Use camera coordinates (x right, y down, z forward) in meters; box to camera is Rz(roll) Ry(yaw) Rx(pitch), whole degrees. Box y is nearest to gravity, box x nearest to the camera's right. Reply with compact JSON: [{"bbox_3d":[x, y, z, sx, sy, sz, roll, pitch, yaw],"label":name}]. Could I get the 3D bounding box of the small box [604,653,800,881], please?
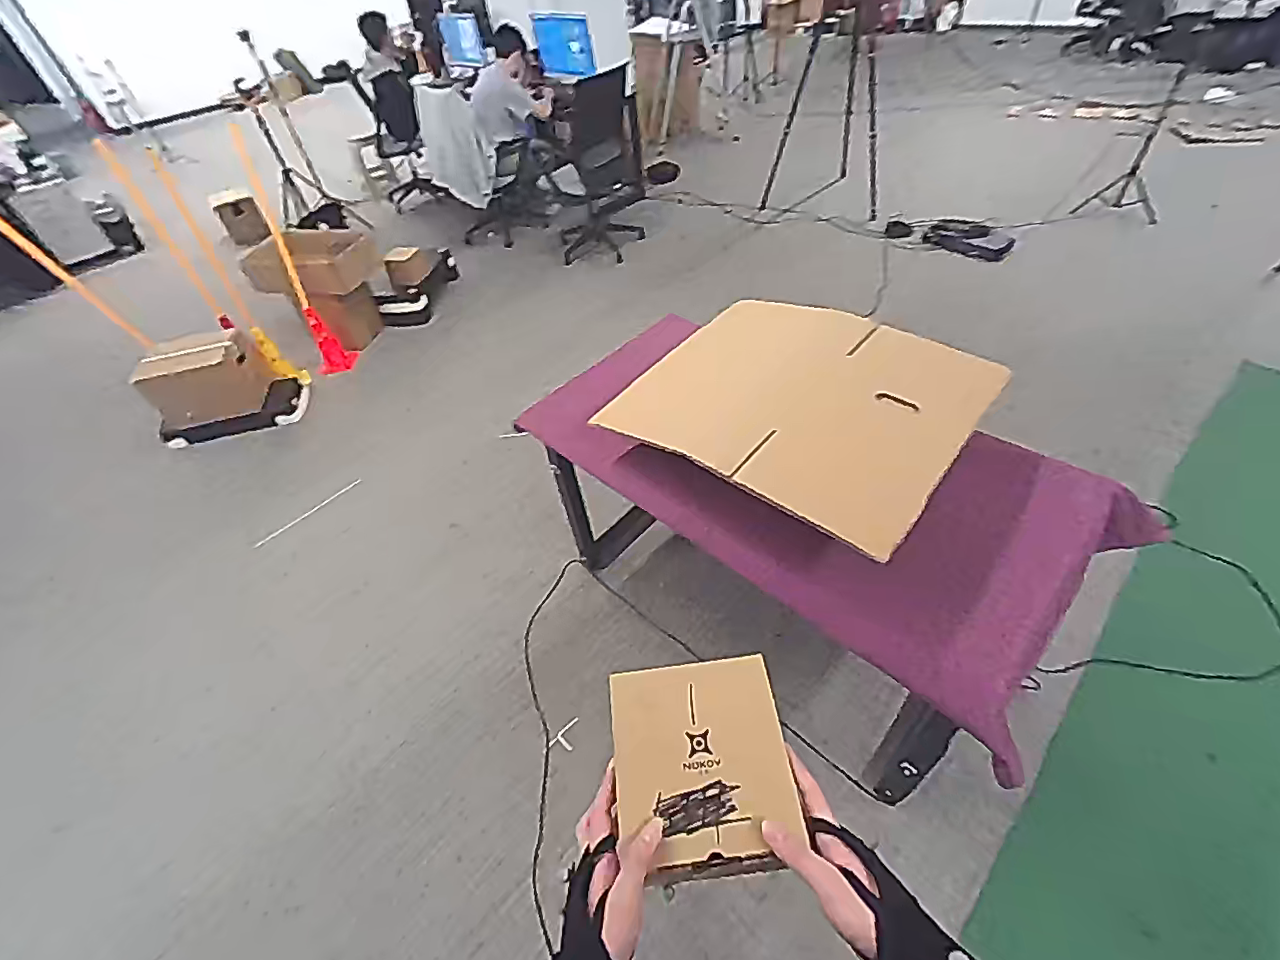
[{"bbox_3d":[0.058,0.307,0.571,0.168,0.176,0.179,-8,49,0],"label":"small box"}]
